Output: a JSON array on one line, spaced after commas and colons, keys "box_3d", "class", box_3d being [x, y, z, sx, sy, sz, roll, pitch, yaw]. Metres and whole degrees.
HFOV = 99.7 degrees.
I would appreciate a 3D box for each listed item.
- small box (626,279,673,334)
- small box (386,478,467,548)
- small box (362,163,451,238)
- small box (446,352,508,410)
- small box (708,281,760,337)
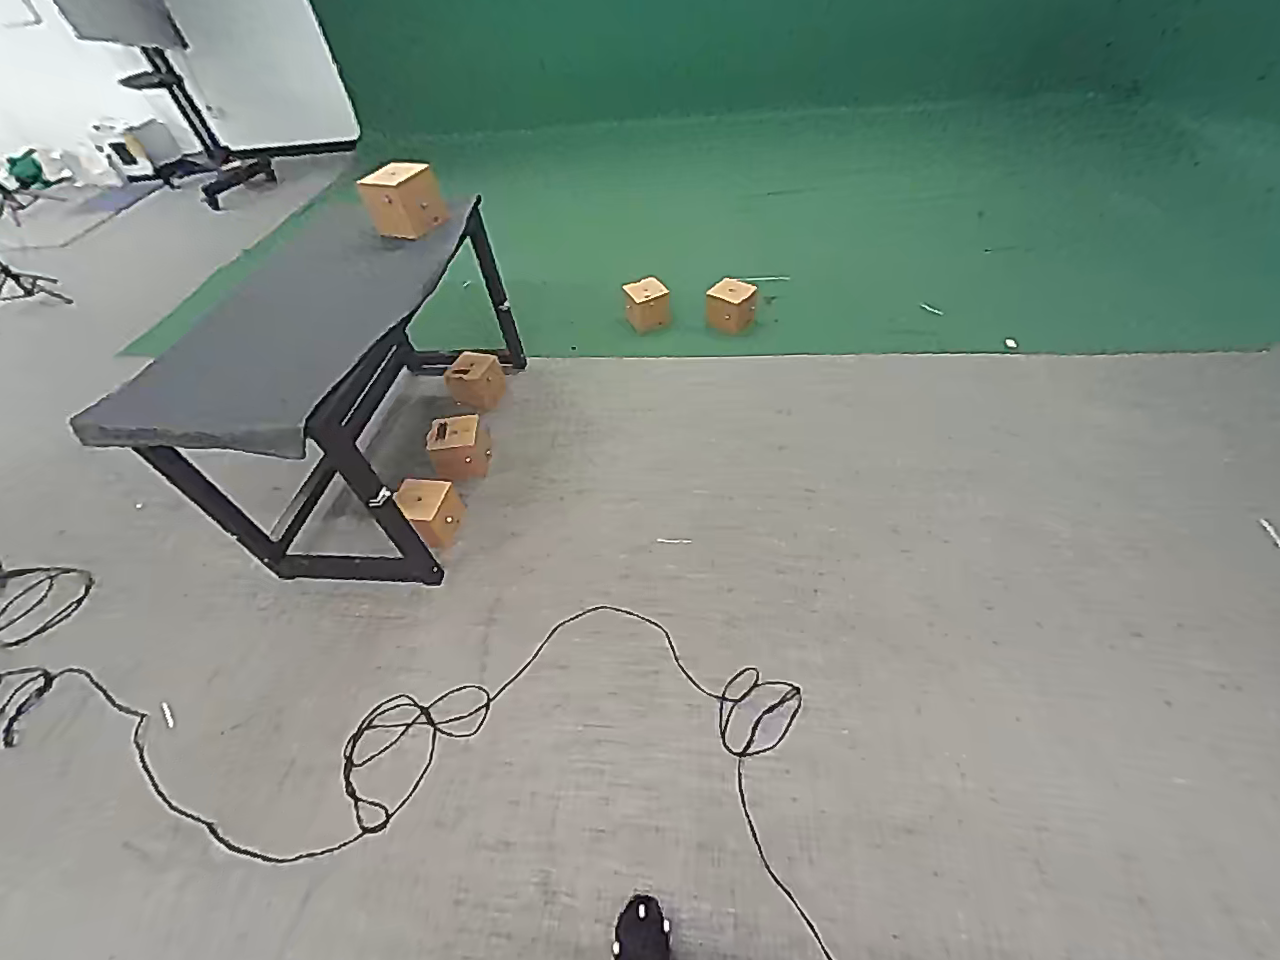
[{"box_3d": [0.046, -0.823, 2.573, 0.168, 0.176, 0.179, -23, 50, -13], "class": "small box"}, {"box_3d": [-0.719, 0.115, 1.844, 0.179, 0.176, 0.168, 5, 50, 11], "class": "small box"}, {"box_3d": [-0.754, -0.912, 1.766, 0.179, 0.176, 0.168, 17, 53, 23], "class": "small box"}, {"box_3d": [-0.686, -0.420, 2.304, 0.168, 0.176, 0.179, 12, 50, 16], "class": "small box"}, {"box_3d": [0.433, -0.784, 2.493, 0.179, 0.176, 0.168, 31, 58, 30], "class": "small box"}]
